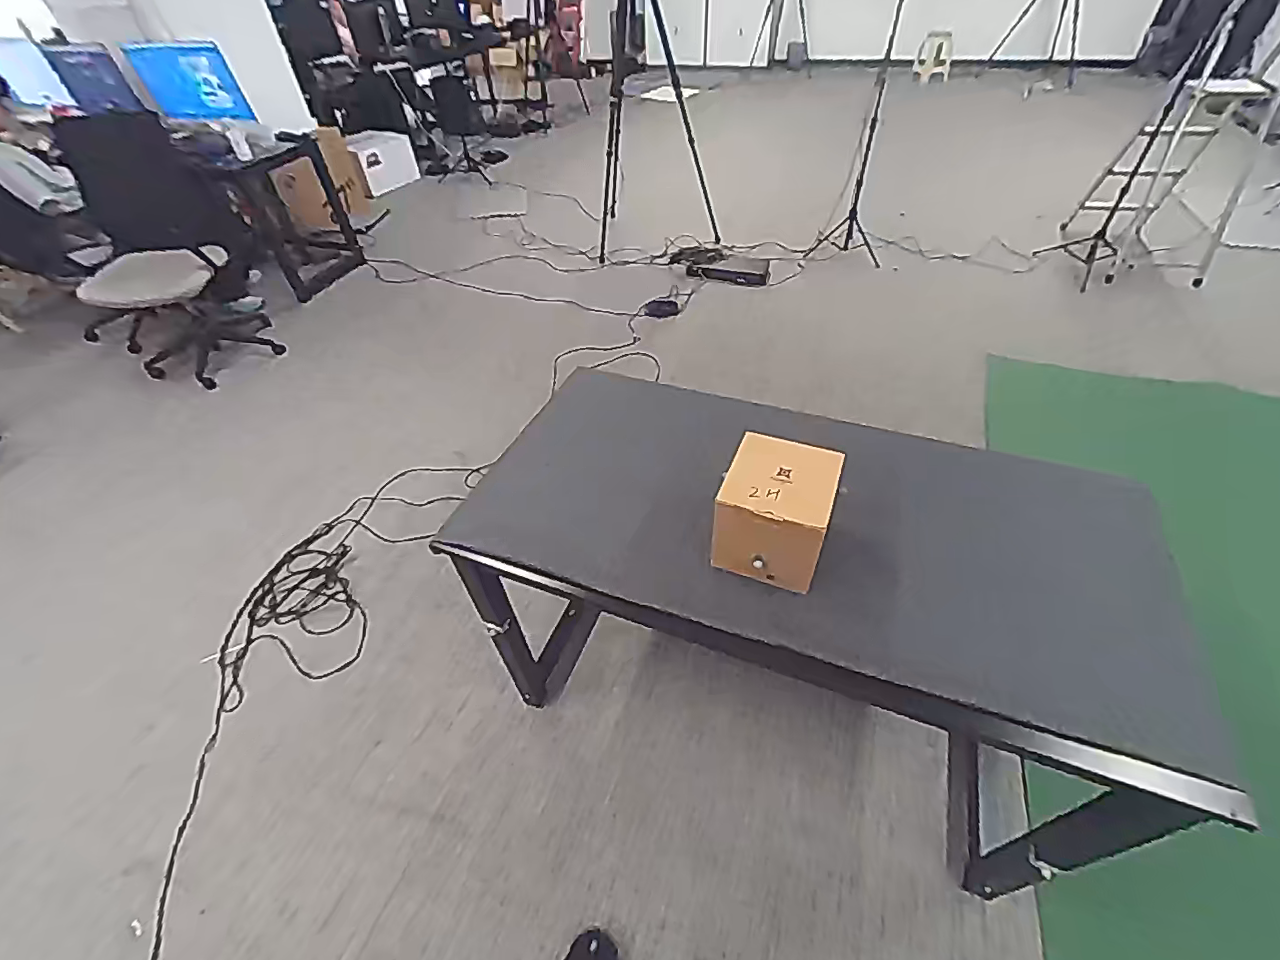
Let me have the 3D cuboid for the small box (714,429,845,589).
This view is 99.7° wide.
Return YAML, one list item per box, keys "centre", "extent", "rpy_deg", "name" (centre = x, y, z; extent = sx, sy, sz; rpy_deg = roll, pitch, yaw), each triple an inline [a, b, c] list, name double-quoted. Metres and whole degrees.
- centre: [0.224, 0.046, 0.893]
  extent: [0.168, 0.176, 0.179]
  rpy_deg: [15, 47, 19]
  name: "small box"
